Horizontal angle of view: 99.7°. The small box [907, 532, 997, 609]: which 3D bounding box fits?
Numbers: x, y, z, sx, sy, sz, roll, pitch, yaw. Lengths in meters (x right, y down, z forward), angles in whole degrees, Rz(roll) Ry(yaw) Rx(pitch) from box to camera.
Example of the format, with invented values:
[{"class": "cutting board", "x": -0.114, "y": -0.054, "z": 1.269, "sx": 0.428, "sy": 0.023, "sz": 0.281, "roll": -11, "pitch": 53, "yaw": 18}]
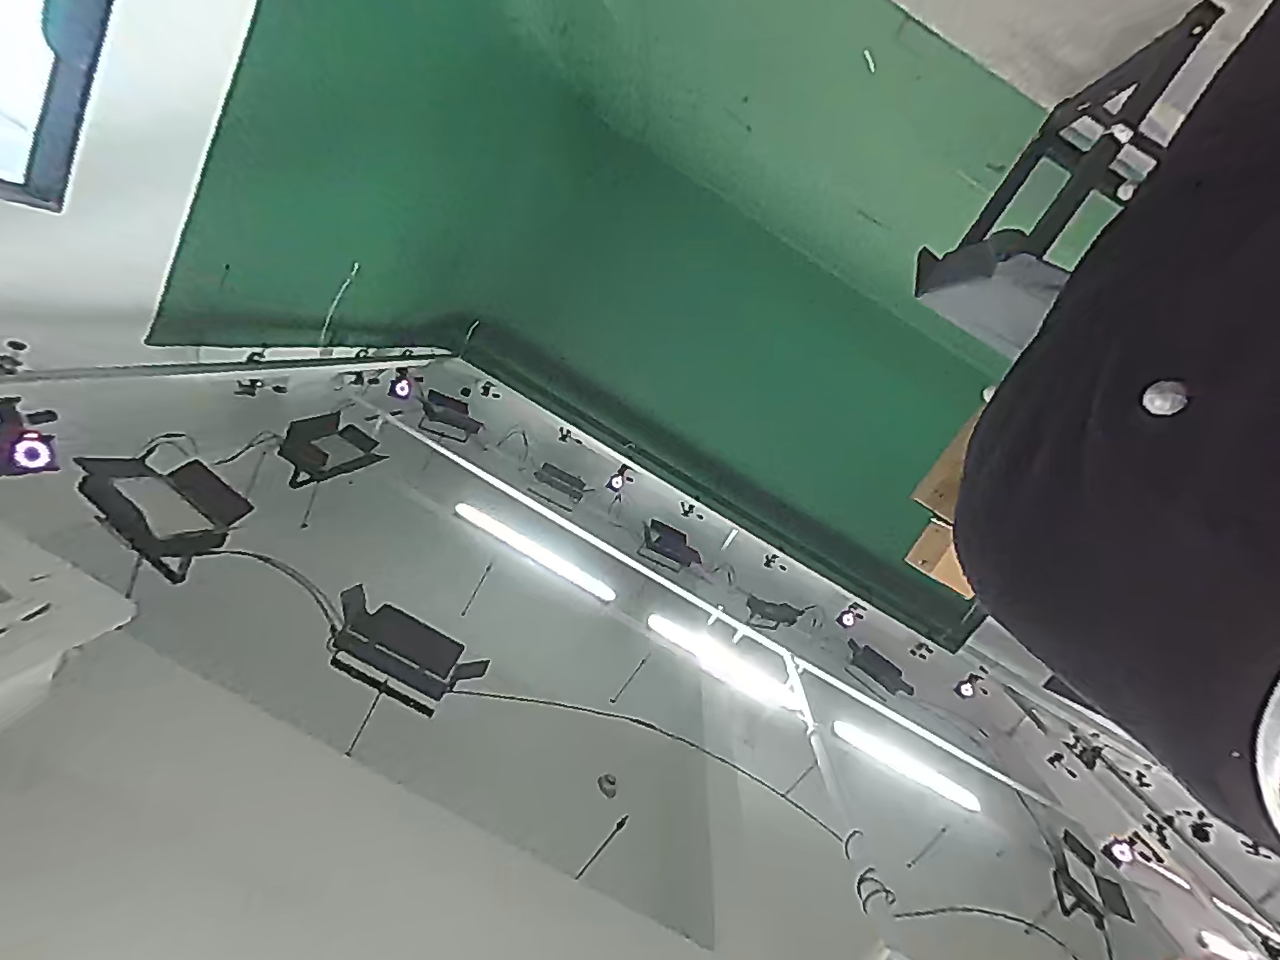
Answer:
[{"class": "small box", "x": 1.077, "y": 0.306, "z": 1.865, "sx": 0.179, "sy": 0.176, "sz": 0.168, "roll": 31, "pitch": -173, "yaw": -6}]
